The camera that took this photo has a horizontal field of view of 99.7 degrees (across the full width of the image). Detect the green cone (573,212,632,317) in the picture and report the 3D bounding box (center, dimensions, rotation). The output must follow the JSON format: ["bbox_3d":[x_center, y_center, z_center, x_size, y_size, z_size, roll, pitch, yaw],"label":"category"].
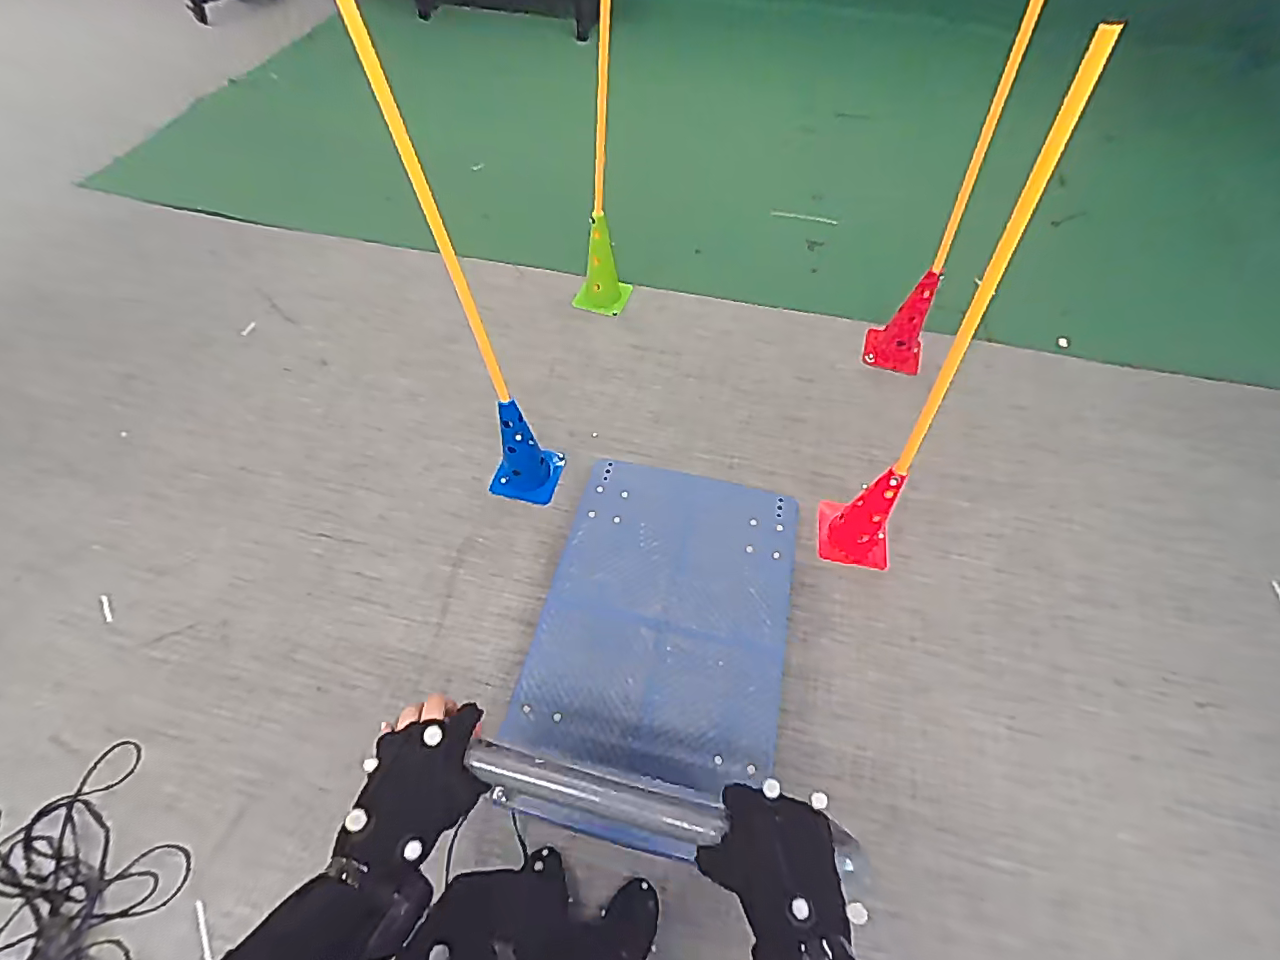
[{"bbox_3d":[-0.150,-0.831,2.042,0.202,0.368,0.200,15,58,10],"label":"green cone"}]

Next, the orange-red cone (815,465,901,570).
[{"bbox_3d":[0.626,0.075,1.478,0.199,0.360,0.198,11,57,8],"label":"orange-red cone"}]
